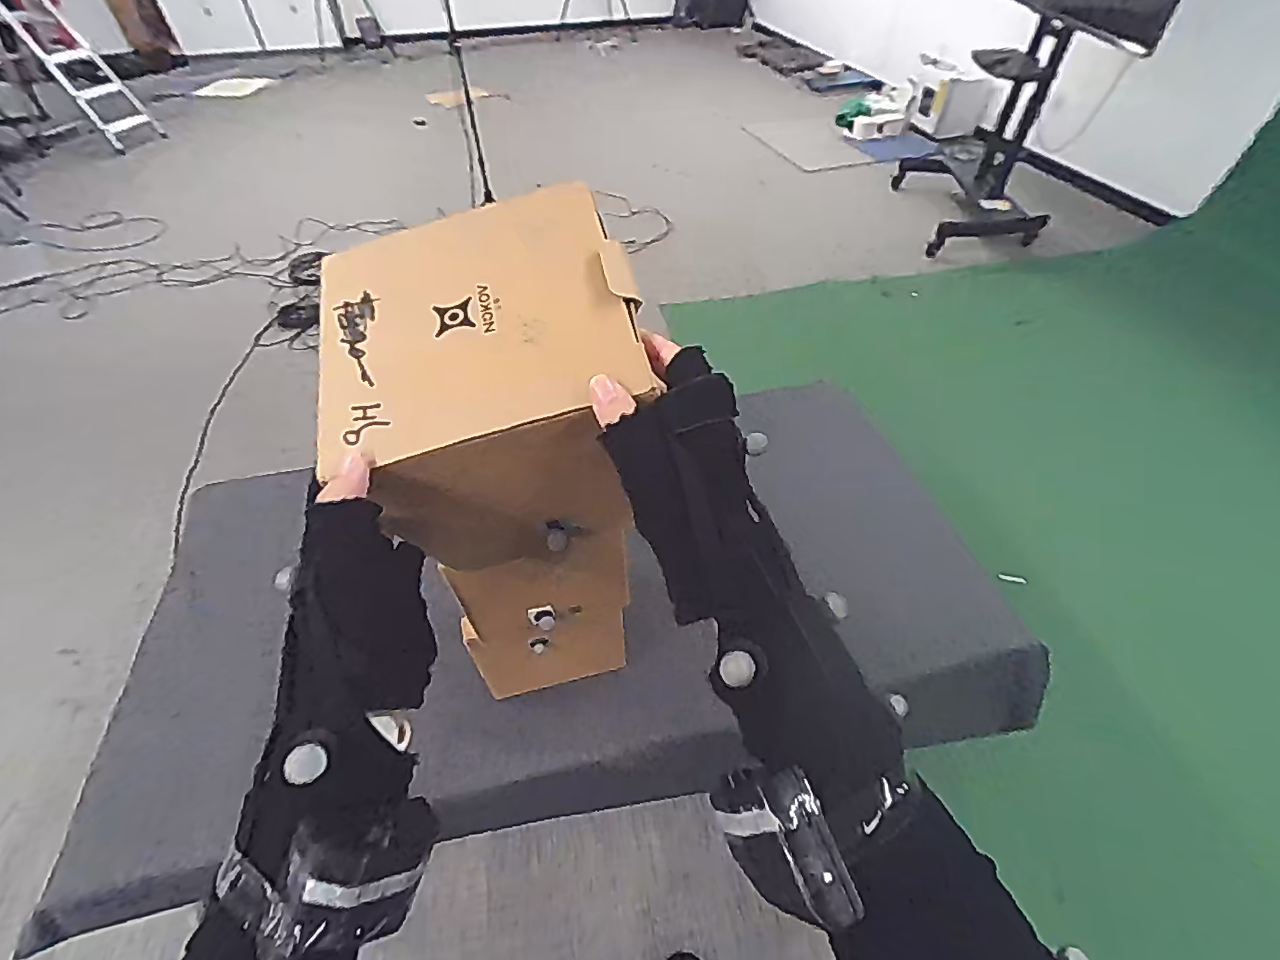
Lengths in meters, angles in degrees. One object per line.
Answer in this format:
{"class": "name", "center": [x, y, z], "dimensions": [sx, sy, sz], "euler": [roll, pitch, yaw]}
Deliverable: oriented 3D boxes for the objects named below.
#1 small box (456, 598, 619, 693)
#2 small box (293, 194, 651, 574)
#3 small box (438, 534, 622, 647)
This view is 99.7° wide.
{"class": "small box", "center": [-0.131, 0.156, 0.709], "dimensions": [0.179, 0.176, 0.168], "euler": [-11, 48, -9]}
{"class": "small box", "center": [-0.093, -0.051, 0.369], "dimensions": [0.179, 0.176, 0.168], "euler": [-14, 63, 1]}
{"class": "small box", "center": [-0.124, 0.049, 0.587], "dimensions": [0.168, 0.176, 0.179], "euler": [-16, 50, -11]}
